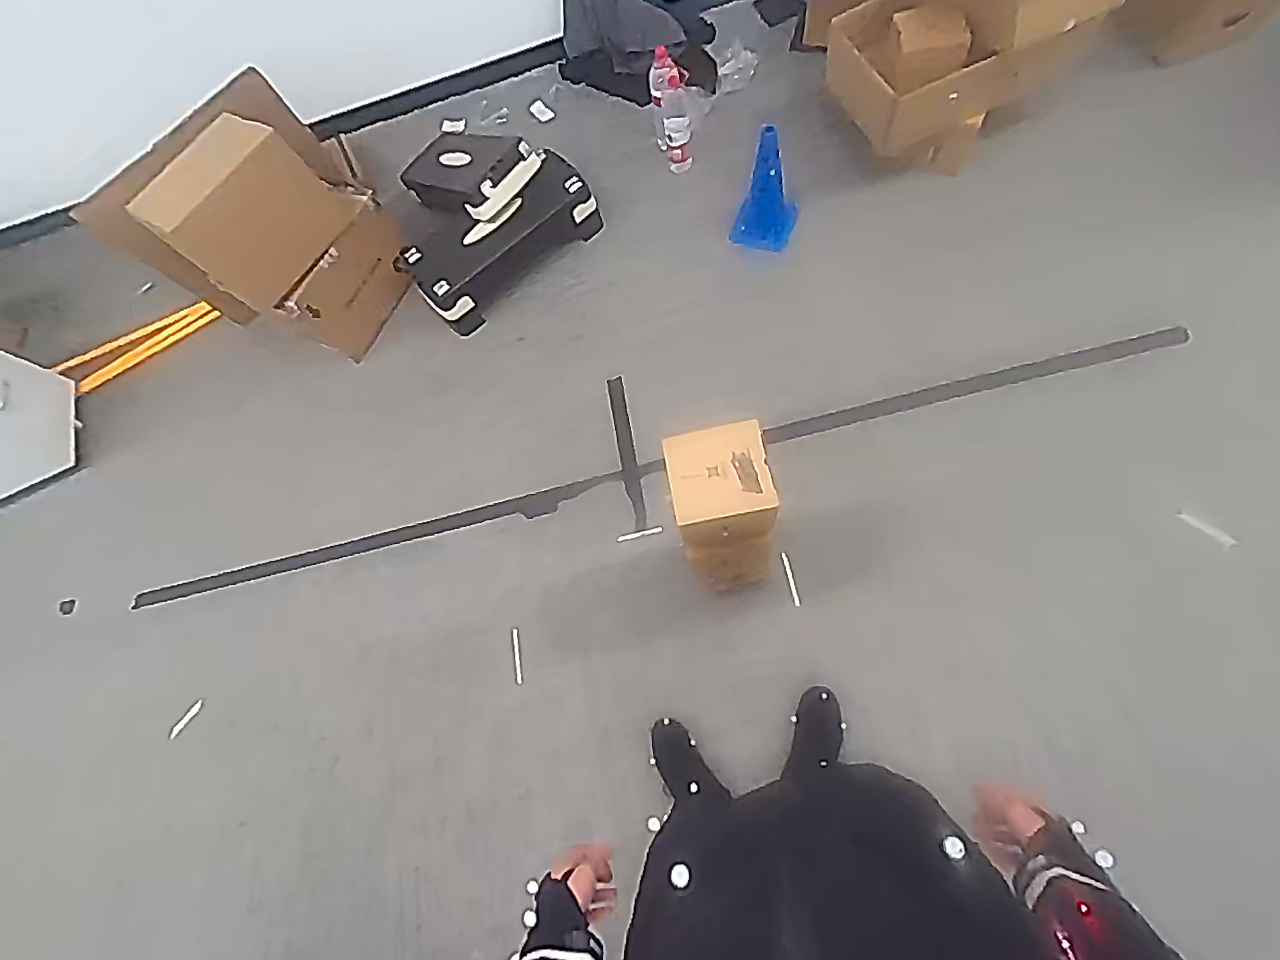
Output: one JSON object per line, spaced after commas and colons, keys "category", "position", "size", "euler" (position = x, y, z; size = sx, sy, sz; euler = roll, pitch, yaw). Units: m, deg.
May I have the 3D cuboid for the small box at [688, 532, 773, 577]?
{"category": "small box", "position": [0.176, 0.095, 1.147], "size": [0.168, 0.176, 0.179], "euler": [-13, 70, 6]}

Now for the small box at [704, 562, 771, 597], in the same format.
{"category": "small box", "position": [0.242, 0.203, 1.449], "size": [0.168, 0.176, 0.179], "euler": [-17, 70, 5]}

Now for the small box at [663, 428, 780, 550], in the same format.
{"category": "small box", "position": [0.149, 0.024, 1.000], "size": [0.179, 0.176, 0.168], "euler": [-12, 69, 7]}
